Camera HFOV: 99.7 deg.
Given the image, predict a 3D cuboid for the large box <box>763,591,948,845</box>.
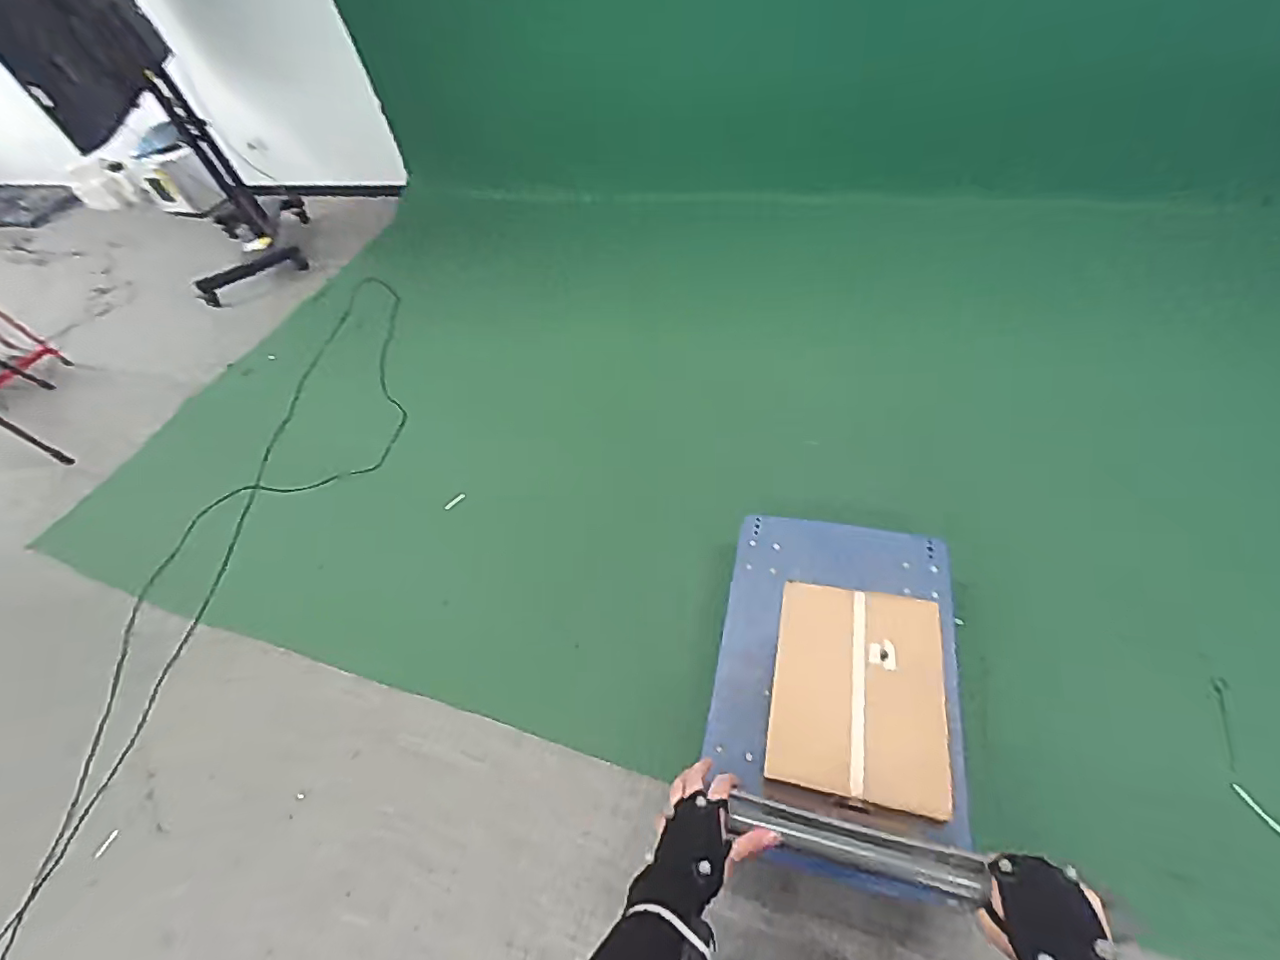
[{"bbox_3d":[0.444,0.509,1.175,0.320,0.320,0.408,6,53,16],"label":"large box"}]
